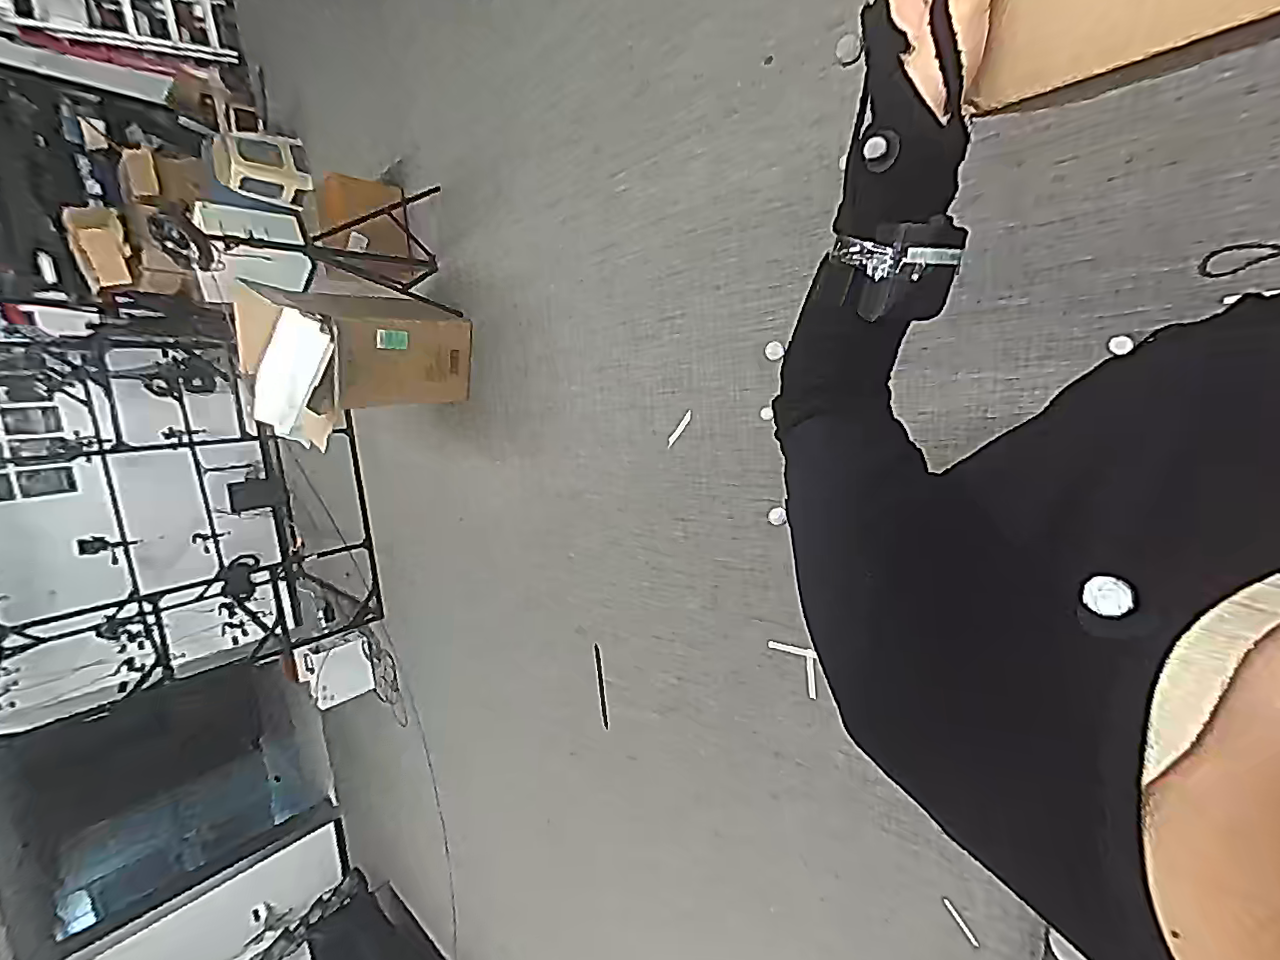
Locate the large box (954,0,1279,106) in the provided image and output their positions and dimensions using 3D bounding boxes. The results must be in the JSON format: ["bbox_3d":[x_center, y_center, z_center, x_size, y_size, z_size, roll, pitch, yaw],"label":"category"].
[{"bbox_3d":[0.390,-0.418,0.234,0.408,0.320,0.320,5,121,44],"label":"large box"}]
